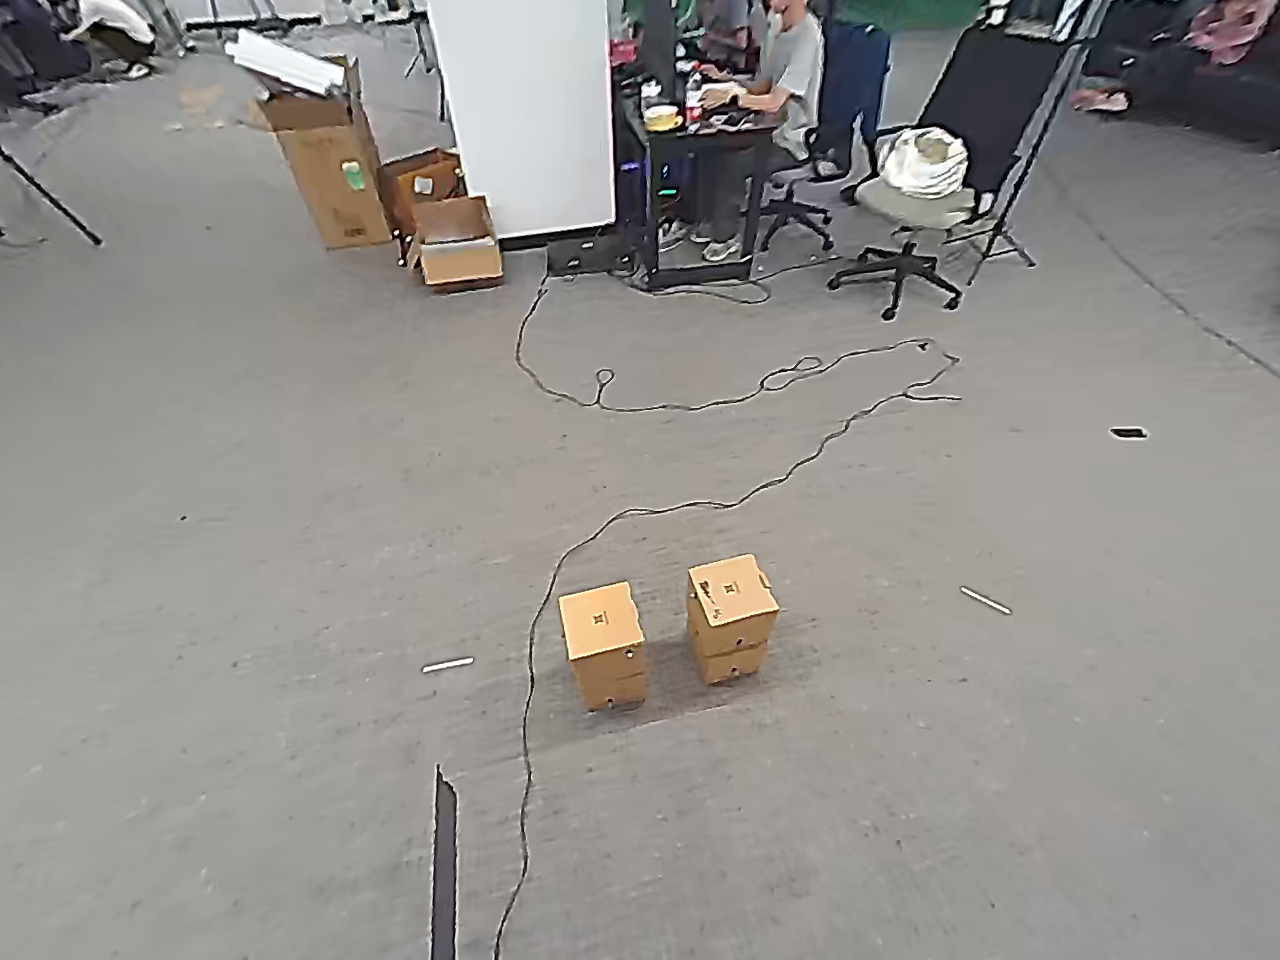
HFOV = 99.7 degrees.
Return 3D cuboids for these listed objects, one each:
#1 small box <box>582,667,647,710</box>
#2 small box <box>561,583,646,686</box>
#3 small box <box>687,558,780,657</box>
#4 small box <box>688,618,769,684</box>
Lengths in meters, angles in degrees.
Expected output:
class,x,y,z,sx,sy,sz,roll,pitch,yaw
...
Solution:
class,x,y,z,sx,sy,sz,roll,pitch,yaw
small box,-0.077,0.489,1.447,0.168,0.176,0.179,-8,49,-6
small box,-0.087,0.382,1.324,0.179,0.176,0.168,-11,49,-9
small box,0.227,0.323,1.368,0.179,0.176,0.168,-11,49,-10
small box,0.235,0.433,1.490,0.168,0.176,0.179,-11,49,-9
